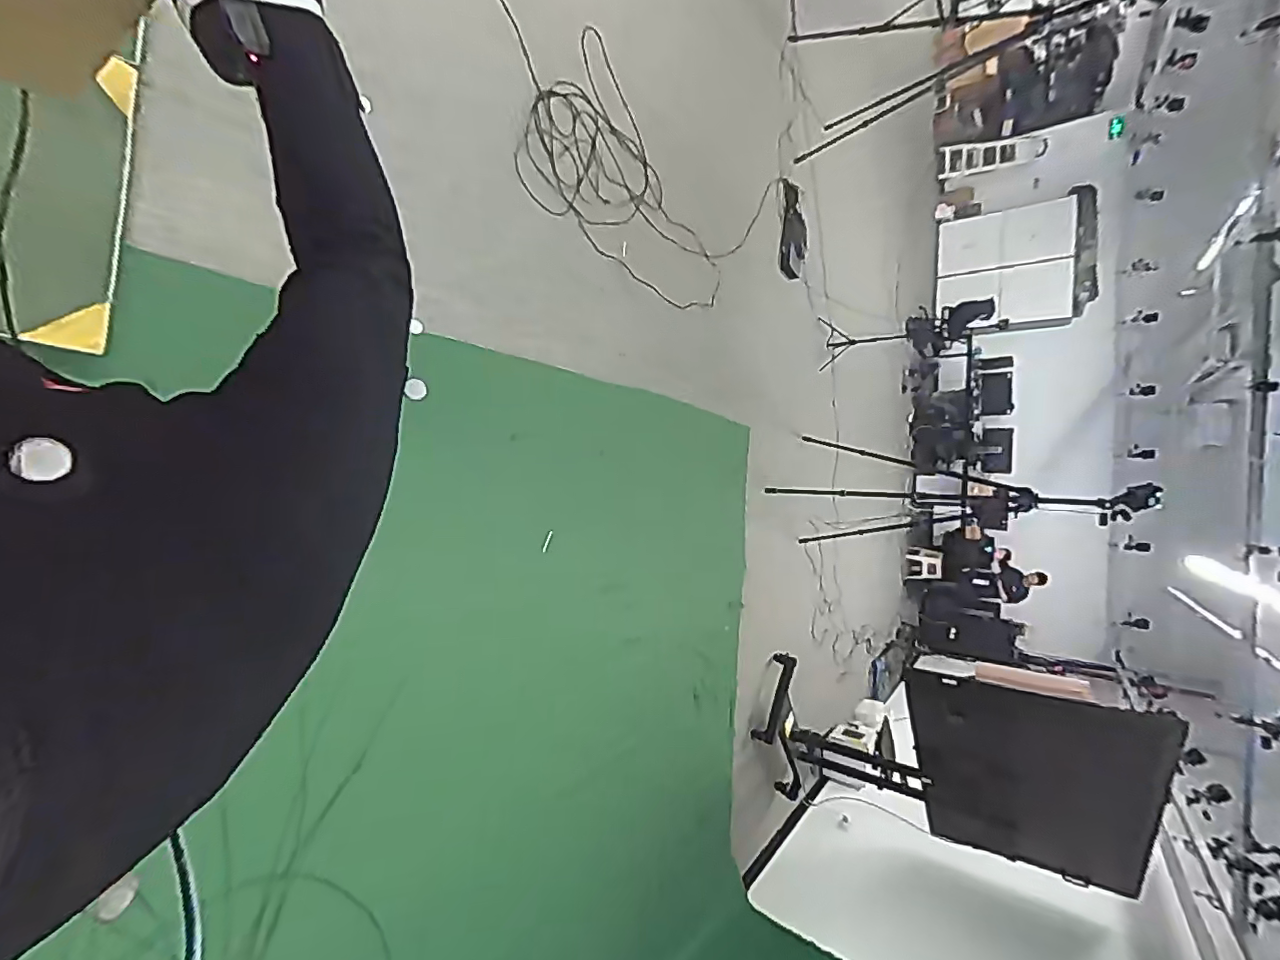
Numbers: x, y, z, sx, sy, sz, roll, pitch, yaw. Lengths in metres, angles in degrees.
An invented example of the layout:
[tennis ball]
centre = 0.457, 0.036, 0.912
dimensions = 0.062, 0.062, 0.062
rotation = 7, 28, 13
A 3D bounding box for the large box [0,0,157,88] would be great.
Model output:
[large box]
centre = -0.538, -0.457, 0.248
dimensions = 0.408, 0.320, 0.320
rotation = -18, 115, -51
